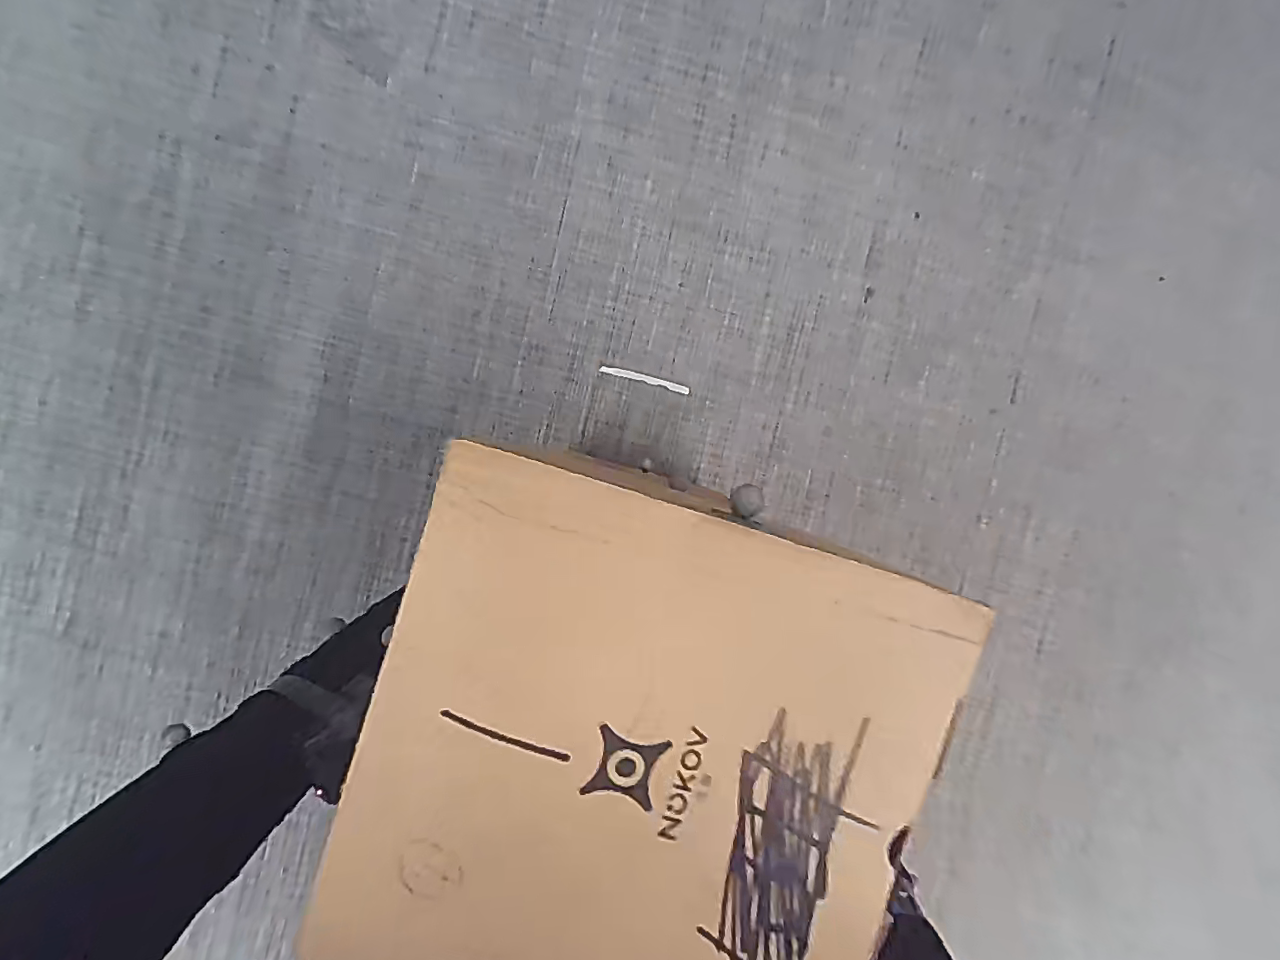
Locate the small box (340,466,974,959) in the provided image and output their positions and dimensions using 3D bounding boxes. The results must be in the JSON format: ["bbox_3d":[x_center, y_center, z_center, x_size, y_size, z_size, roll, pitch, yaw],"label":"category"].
[{"bbox_3d":[0.002,0.090,0.254,0.179,0.176,0.168,14,92,-5],"label":"small box"}]

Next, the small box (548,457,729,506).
[{"bbox_3d":[-0.023,0.073,0.581,0.179,0.176,0.168,14,91,-3],"label":"small box"}]
